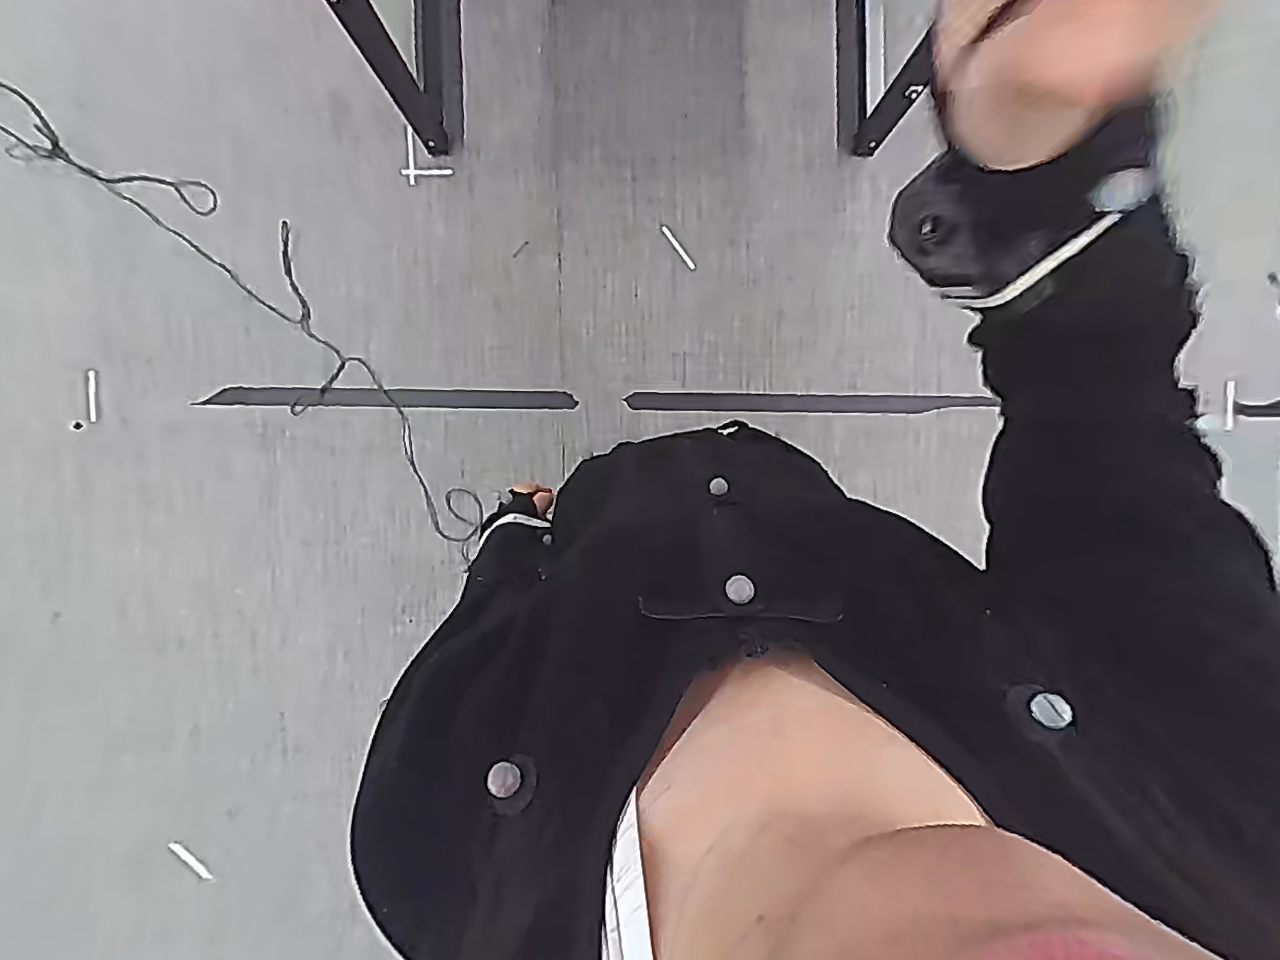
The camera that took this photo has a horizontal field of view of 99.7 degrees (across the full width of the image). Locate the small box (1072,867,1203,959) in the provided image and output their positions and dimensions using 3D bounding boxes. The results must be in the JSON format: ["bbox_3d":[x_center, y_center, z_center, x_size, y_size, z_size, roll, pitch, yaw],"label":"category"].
[{"bbox_3d":[1.214,1.104,1.332,0.168,0.176,0.179,4,92,-2],"label":"small box"}]

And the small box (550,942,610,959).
[{"bbox_3d":[-0.166,1.423,1.493,0.168,0.176,0.179,-5,94,0],"label":"small box"}]
